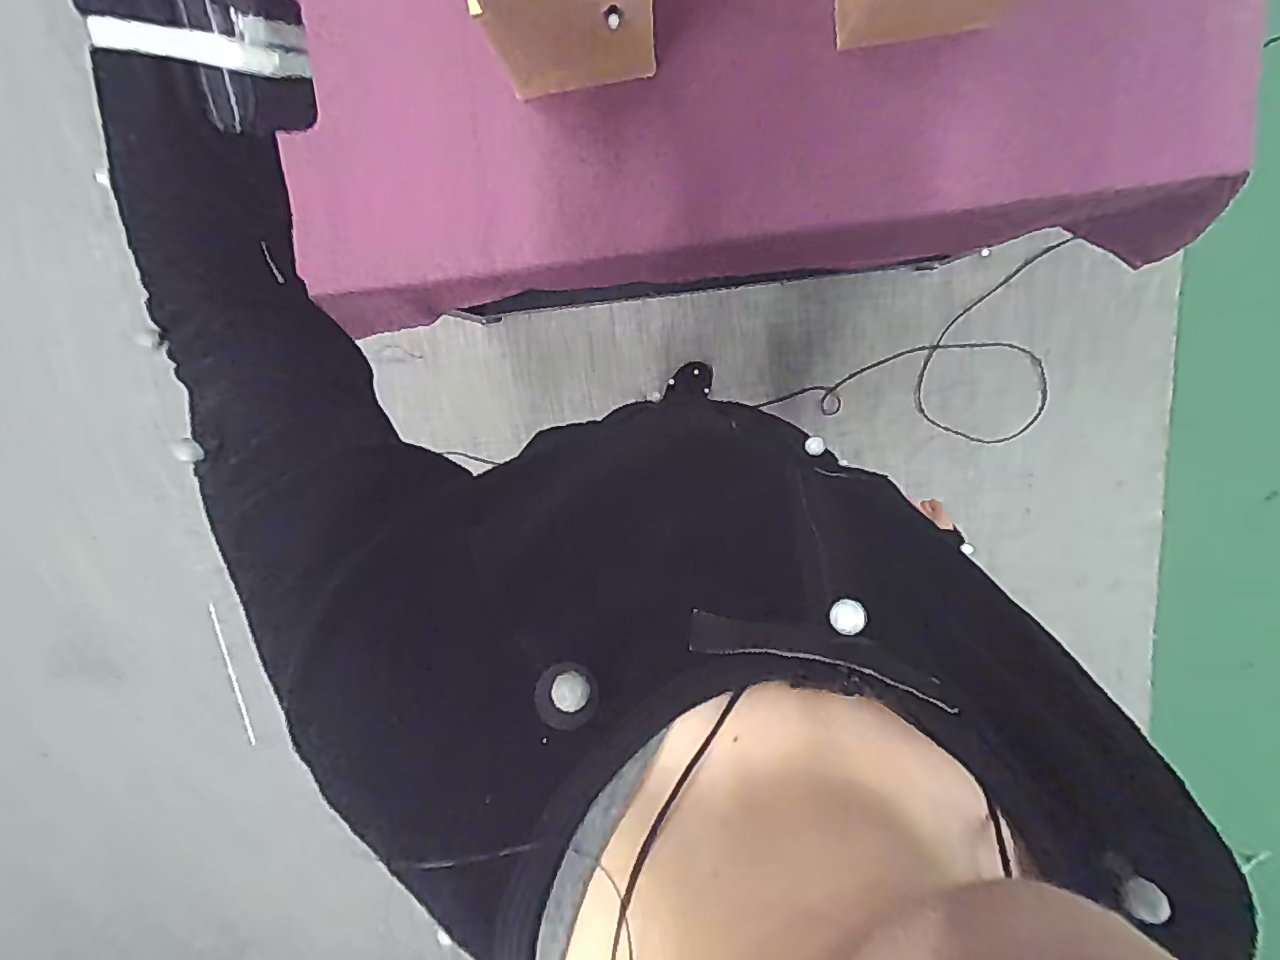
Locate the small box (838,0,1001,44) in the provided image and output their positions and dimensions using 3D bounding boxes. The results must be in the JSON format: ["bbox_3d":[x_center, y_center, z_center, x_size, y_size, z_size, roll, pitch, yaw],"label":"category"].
[{"bbox_3d":[0.307,-0.582,0.544,0.179,0.176,0.168,-6,102,4],"label":"small box"}]

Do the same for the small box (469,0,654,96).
[{"bbox_3d":[-0.082,-0.545,0.572,0.179,0.176,0.168,-8,101,3],"label":"small box"}]
